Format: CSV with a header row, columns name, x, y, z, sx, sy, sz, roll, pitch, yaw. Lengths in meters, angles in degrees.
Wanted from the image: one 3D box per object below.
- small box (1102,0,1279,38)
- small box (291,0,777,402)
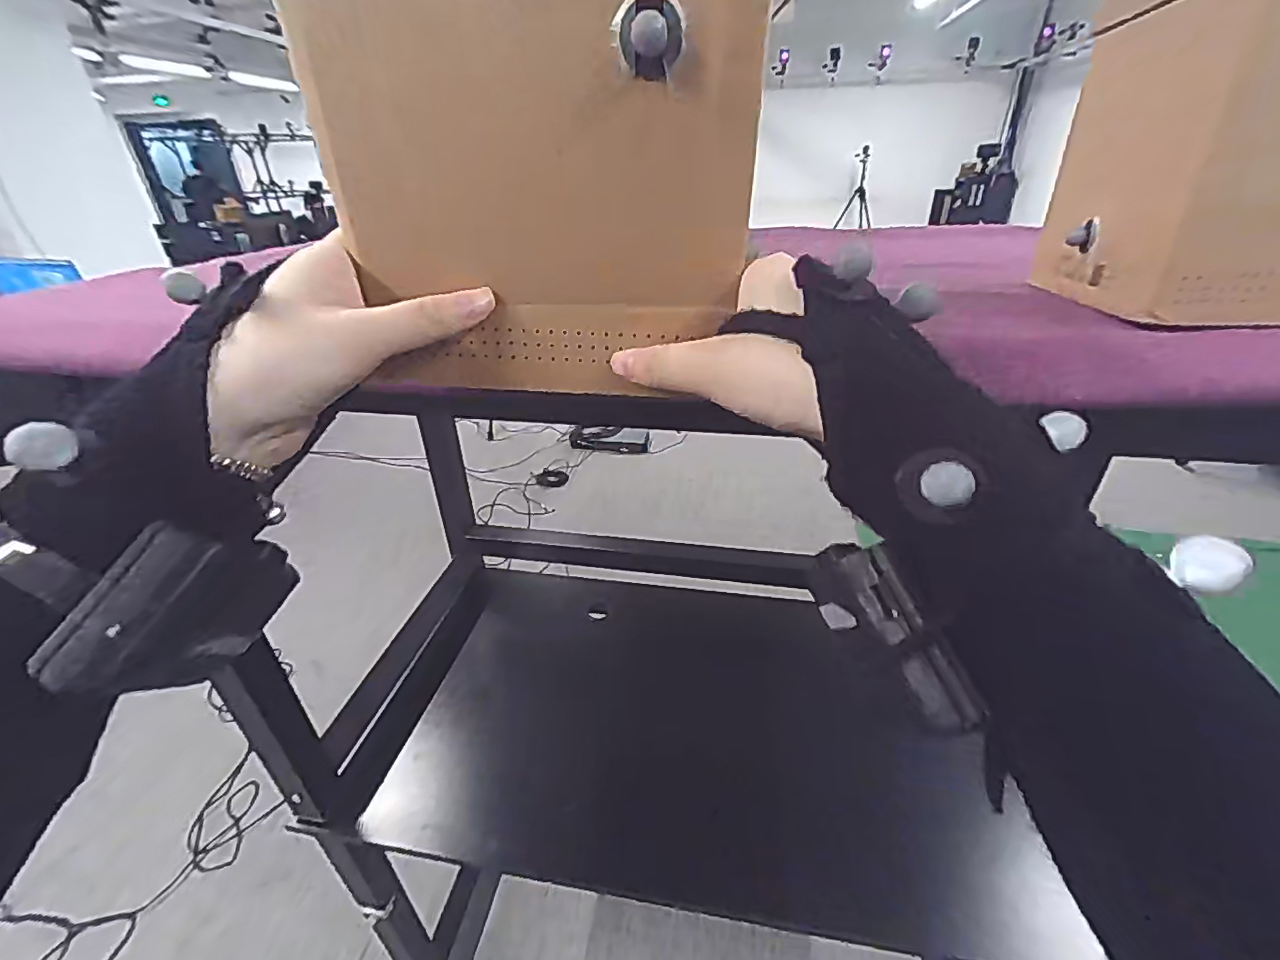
name,x,y,z,sx,sy,sz,roll,pitch,yaw
small box,0.376,-0.340,0.254,0.168,0.176,0.179,4,29,11
small box,-0.033,-0.150,0.278,0.179,0.176,0.168,4,35,4
